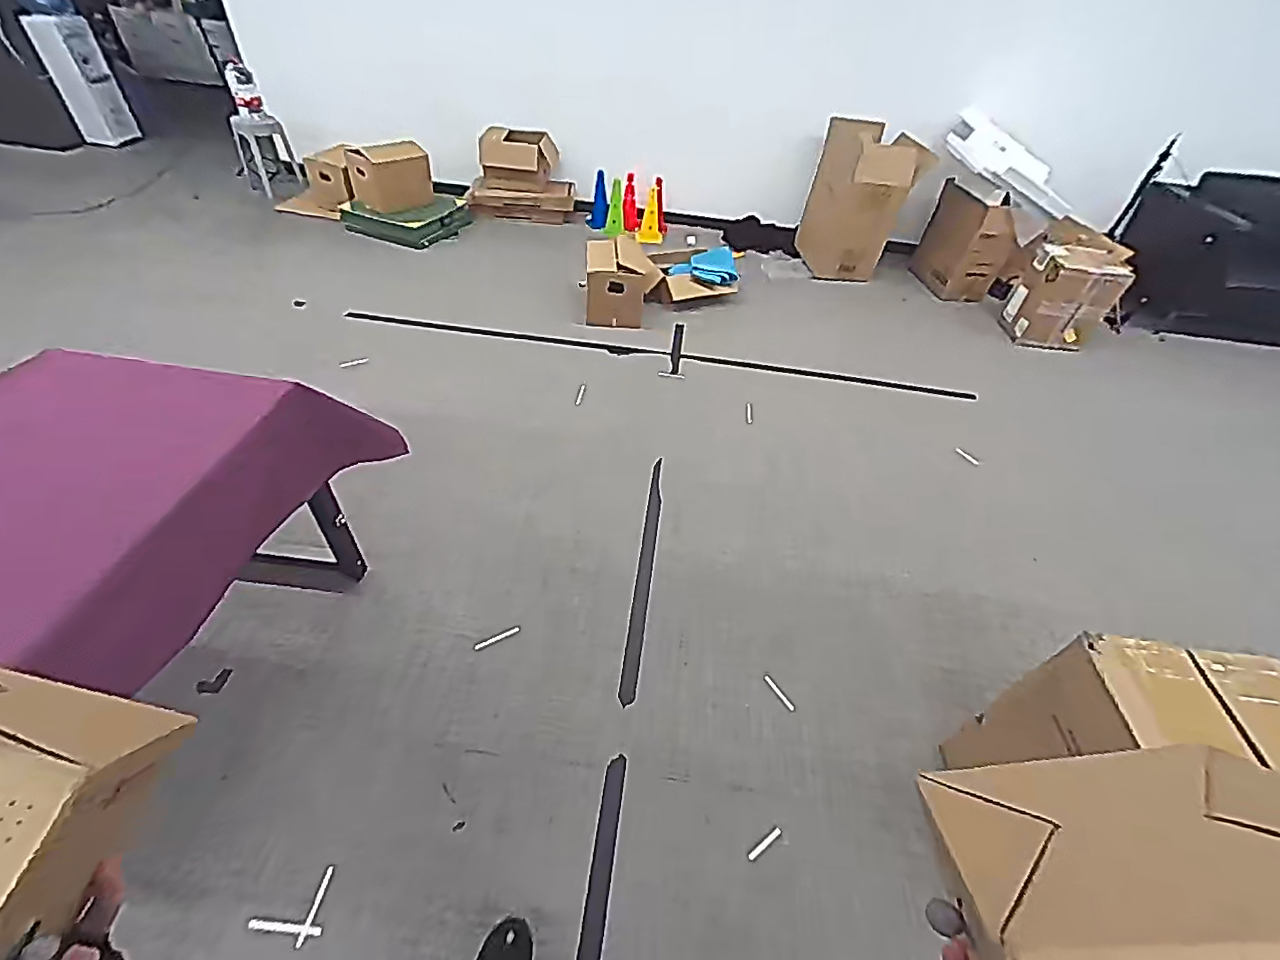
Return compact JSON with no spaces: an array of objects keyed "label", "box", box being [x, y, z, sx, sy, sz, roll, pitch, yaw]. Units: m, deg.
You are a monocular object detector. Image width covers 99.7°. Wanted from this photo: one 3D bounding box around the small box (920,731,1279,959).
[{"label":"small box","box":[0.244,0.227,0.238,0.168,0.179,0.176,-16,77,16]}]
